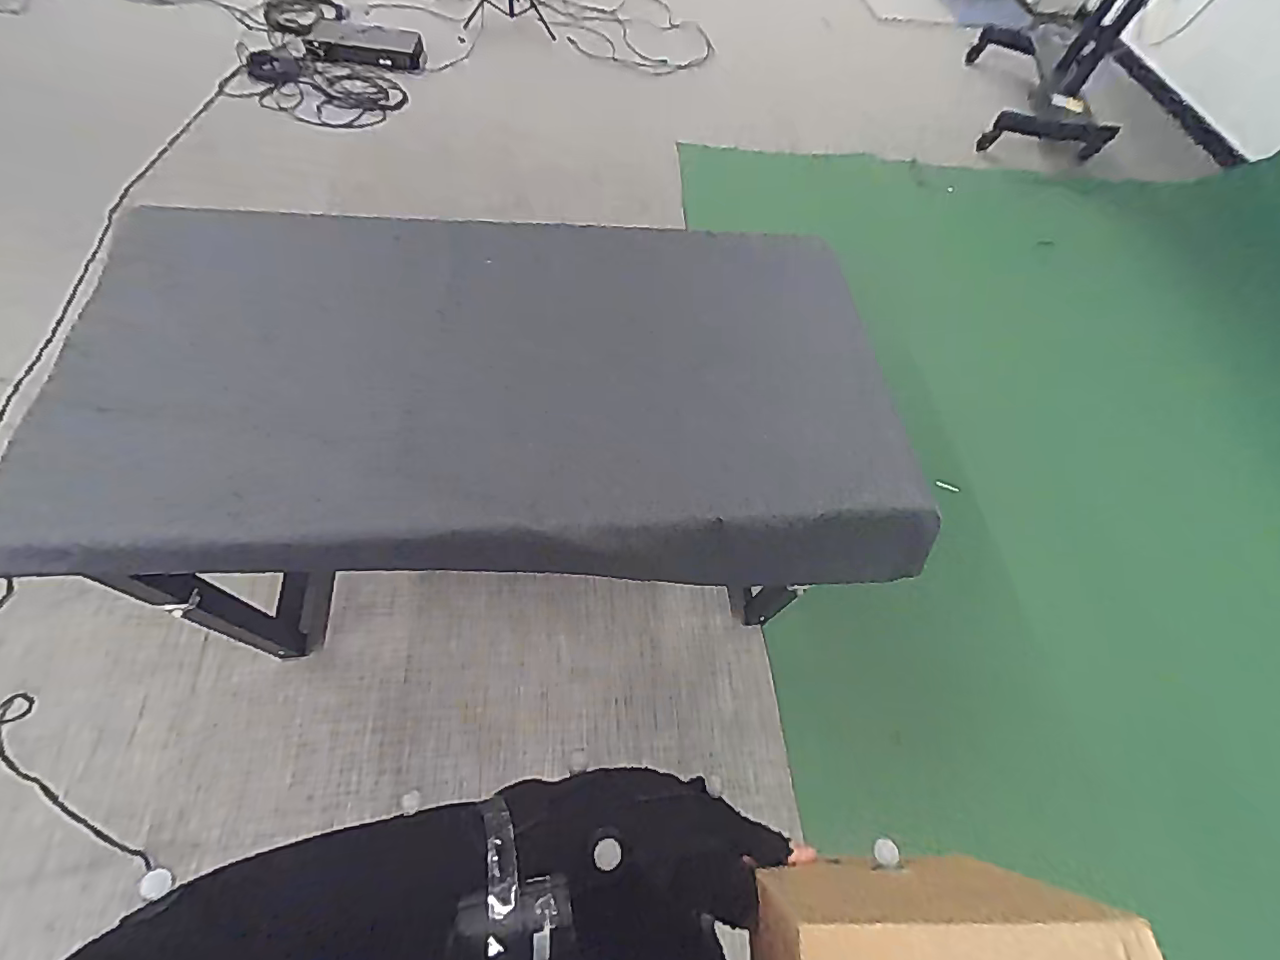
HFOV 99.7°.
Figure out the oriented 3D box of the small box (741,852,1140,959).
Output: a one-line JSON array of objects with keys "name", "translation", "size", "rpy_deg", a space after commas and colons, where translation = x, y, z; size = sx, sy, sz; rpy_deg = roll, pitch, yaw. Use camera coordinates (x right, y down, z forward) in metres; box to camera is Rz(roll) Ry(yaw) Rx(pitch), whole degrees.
[{"name": "small box", "translation": [0.152, 0.325, 0.296], "size": [0.168, 0.176, 0.179], "rpy_deg": [0, 63, 1]}]
